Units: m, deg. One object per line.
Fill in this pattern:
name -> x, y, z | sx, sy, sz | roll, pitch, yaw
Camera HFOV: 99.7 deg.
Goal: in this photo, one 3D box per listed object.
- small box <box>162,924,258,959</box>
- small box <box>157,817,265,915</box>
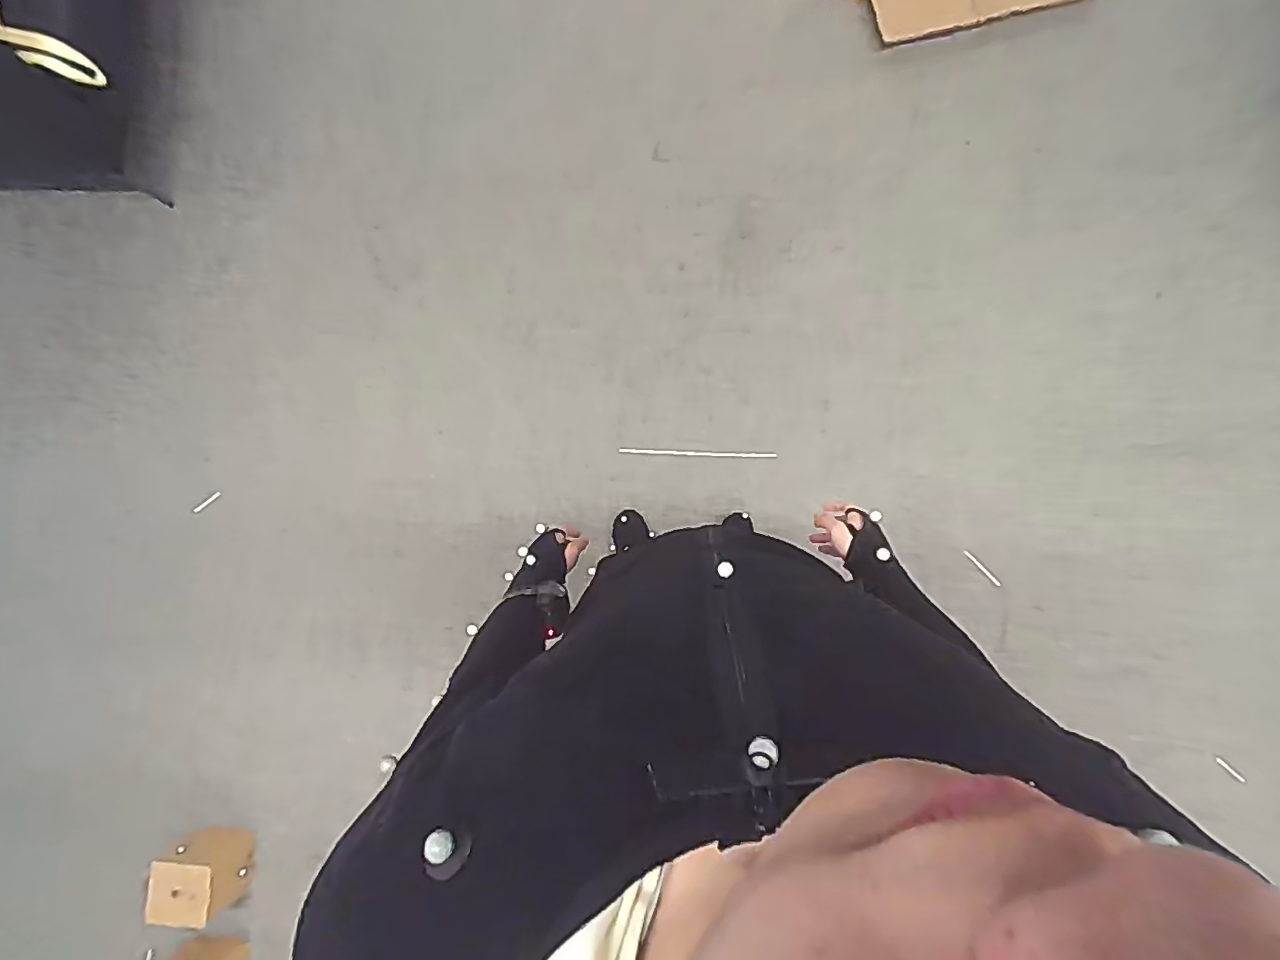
small box -> -1.259, 1.437, 1.569 | 0.179, 0.176, 0.168 | 1, 86, 2
small box -> -1.252, 1.123, 1.586 | 0.179, 0.176, 0.168 | 4, 87, 3
